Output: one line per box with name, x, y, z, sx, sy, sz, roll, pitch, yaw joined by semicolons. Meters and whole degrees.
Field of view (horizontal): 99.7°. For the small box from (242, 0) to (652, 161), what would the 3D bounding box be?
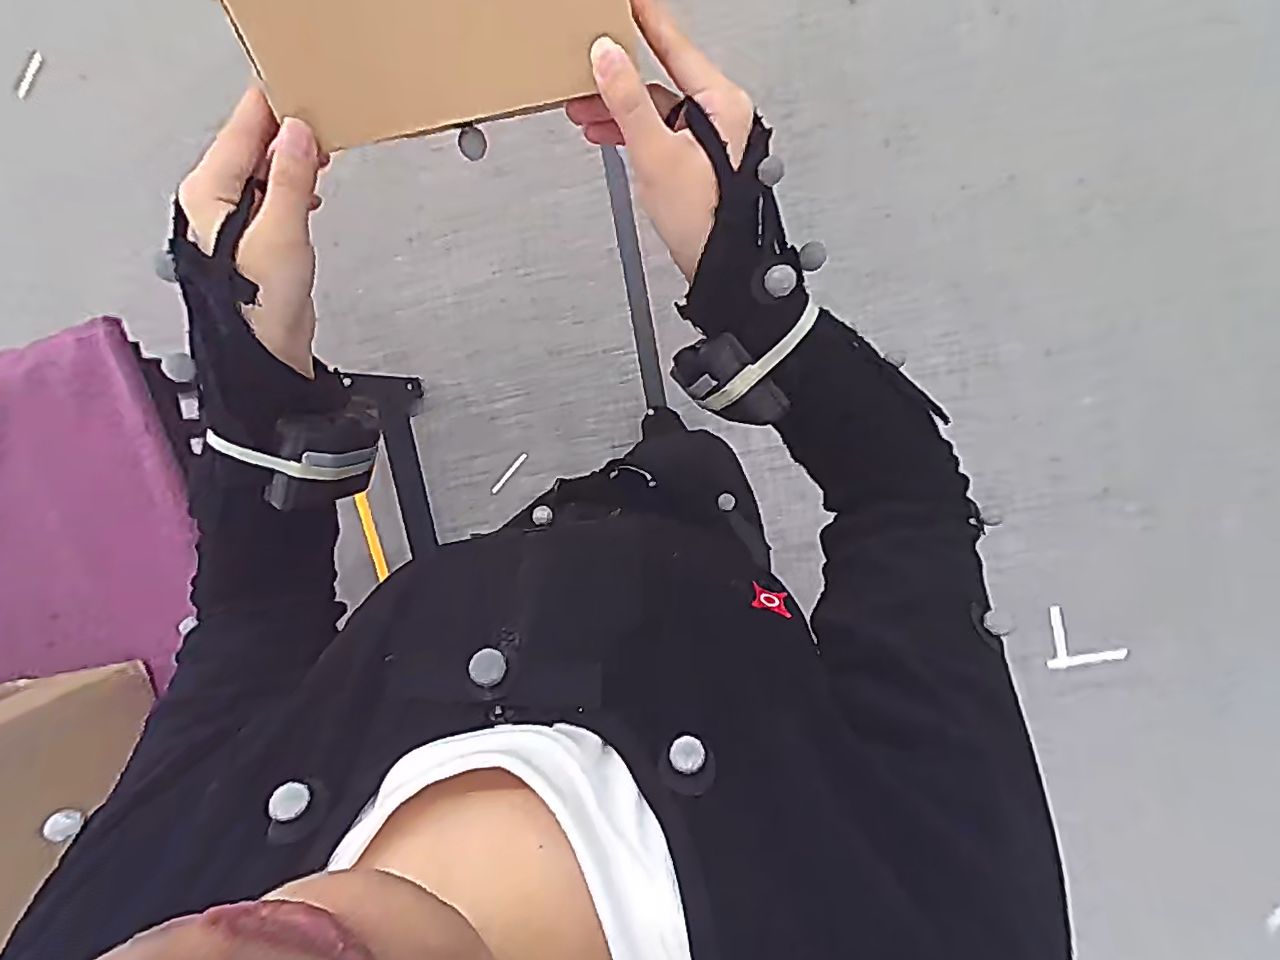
small box;-0.093;-0.283;0.283;0.179;0.176;0.168;-7;126;5
